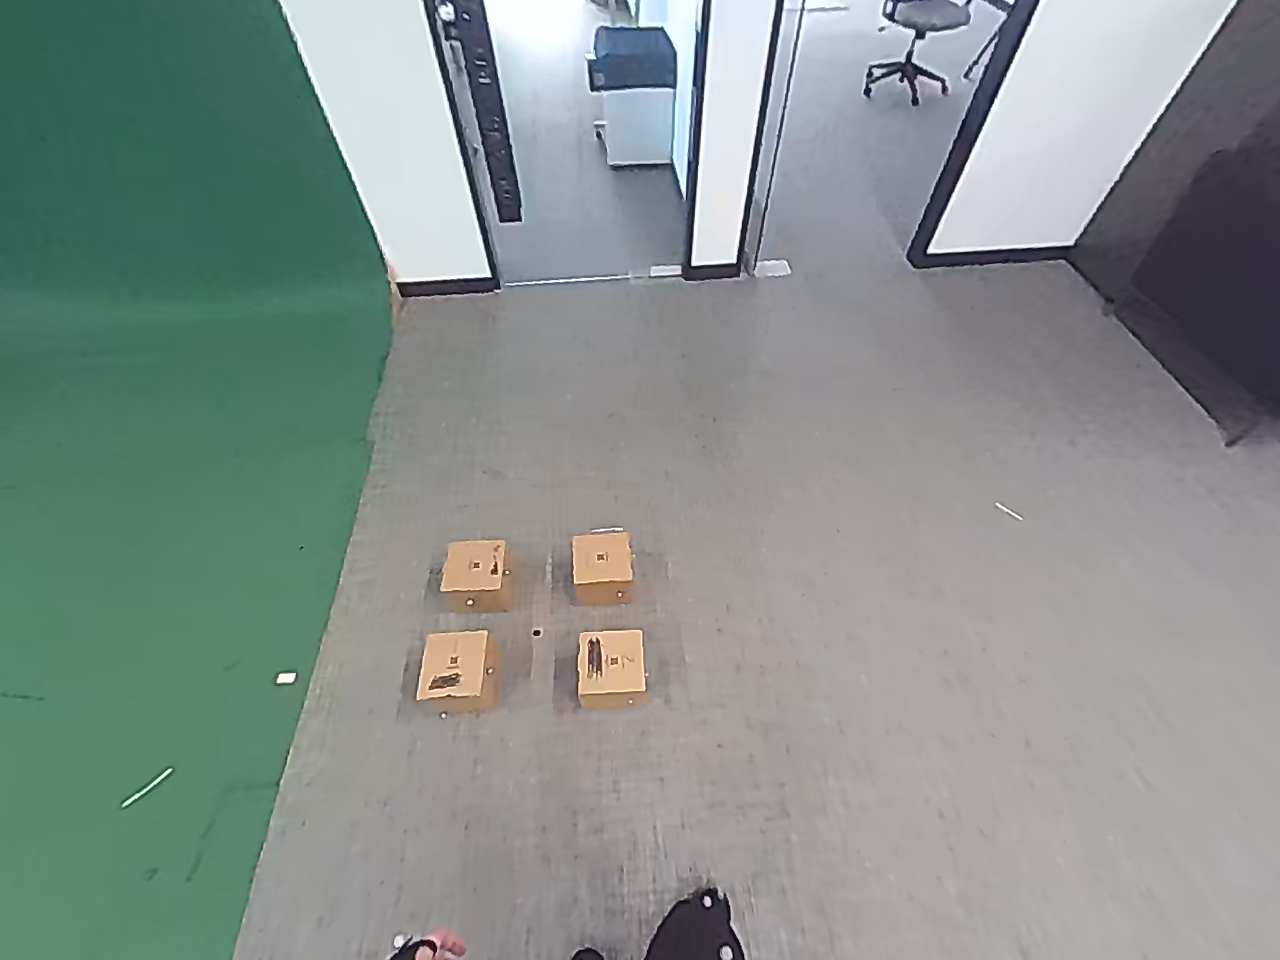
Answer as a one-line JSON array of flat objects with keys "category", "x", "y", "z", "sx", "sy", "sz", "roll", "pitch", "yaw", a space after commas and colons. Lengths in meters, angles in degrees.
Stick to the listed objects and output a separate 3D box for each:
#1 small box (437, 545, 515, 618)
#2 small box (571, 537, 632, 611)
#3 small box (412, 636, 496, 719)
[{"category": "small box", "x": -0.494, "y": 0.312, "z": 1.652, "sx": 0.179, "sy": 0.176, "sz": 0.168, "roll": -2, "pitch": 53, "yaw": -1}, {"category": "small box", "x": -0.117, "y": 0.293, "z": 1.668, "sx": 0.179, "sy": 0.176, "sz": 0.168, "roll": -4, "pitch": 52, "yaw": -3}, {"category": "small box", "x": -0.497, "y": 0.543, "z": 1.476, "sx": 0.168, "sy": 0.176, "sz": 0.179, "roll": -2, "pitch": 52, "yaw": -2}]
